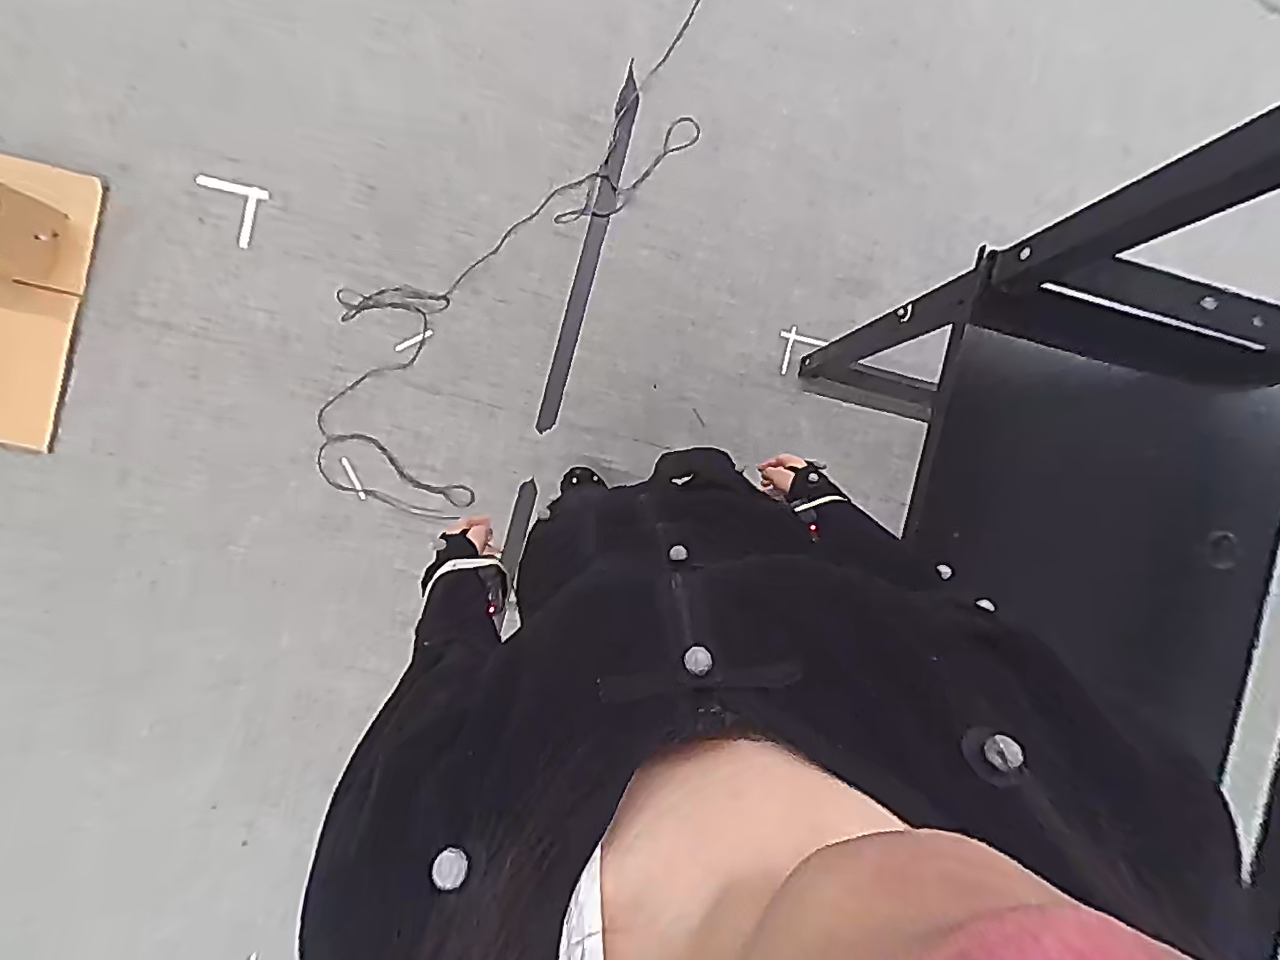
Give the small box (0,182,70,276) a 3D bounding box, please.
[{"bbox_3d":[-1.500,-0.591,1.246,0.179,0.176,0.168,13,91,-7],"label":"small box"}]
